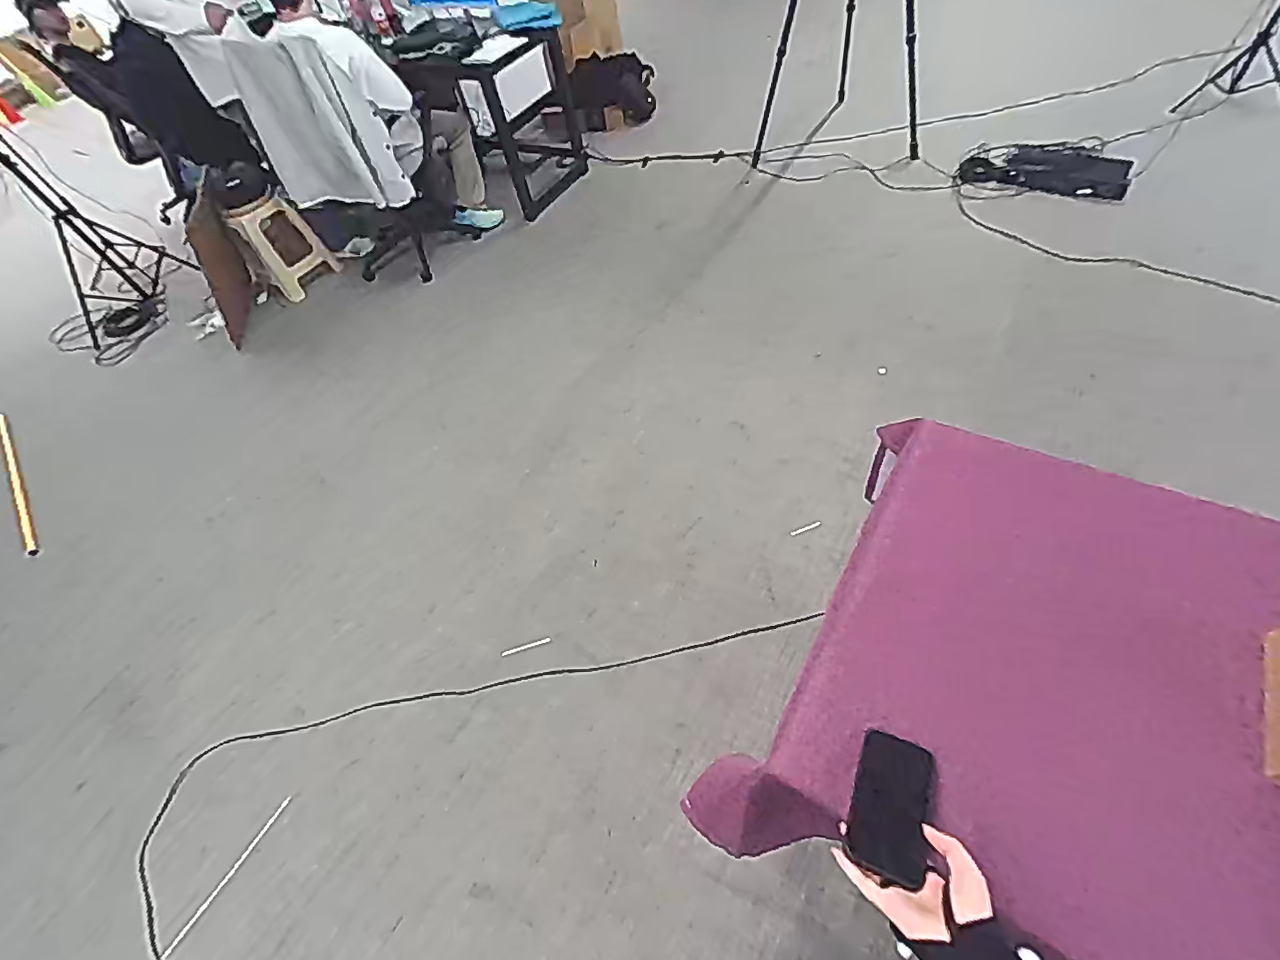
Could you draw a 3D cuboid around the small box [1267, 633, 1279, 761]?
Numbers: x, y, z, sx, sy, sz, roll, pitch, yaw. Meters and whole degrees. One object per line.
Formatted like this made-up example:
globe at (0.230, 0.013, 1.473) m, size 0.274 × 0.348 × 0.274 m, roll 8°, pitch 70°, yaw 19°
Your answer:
small box at (0.738, 0.220, 0.491) m, size 0.168 × 0.176 × 0.179 m, roll 22°, pitch 61°, yaw 25°
